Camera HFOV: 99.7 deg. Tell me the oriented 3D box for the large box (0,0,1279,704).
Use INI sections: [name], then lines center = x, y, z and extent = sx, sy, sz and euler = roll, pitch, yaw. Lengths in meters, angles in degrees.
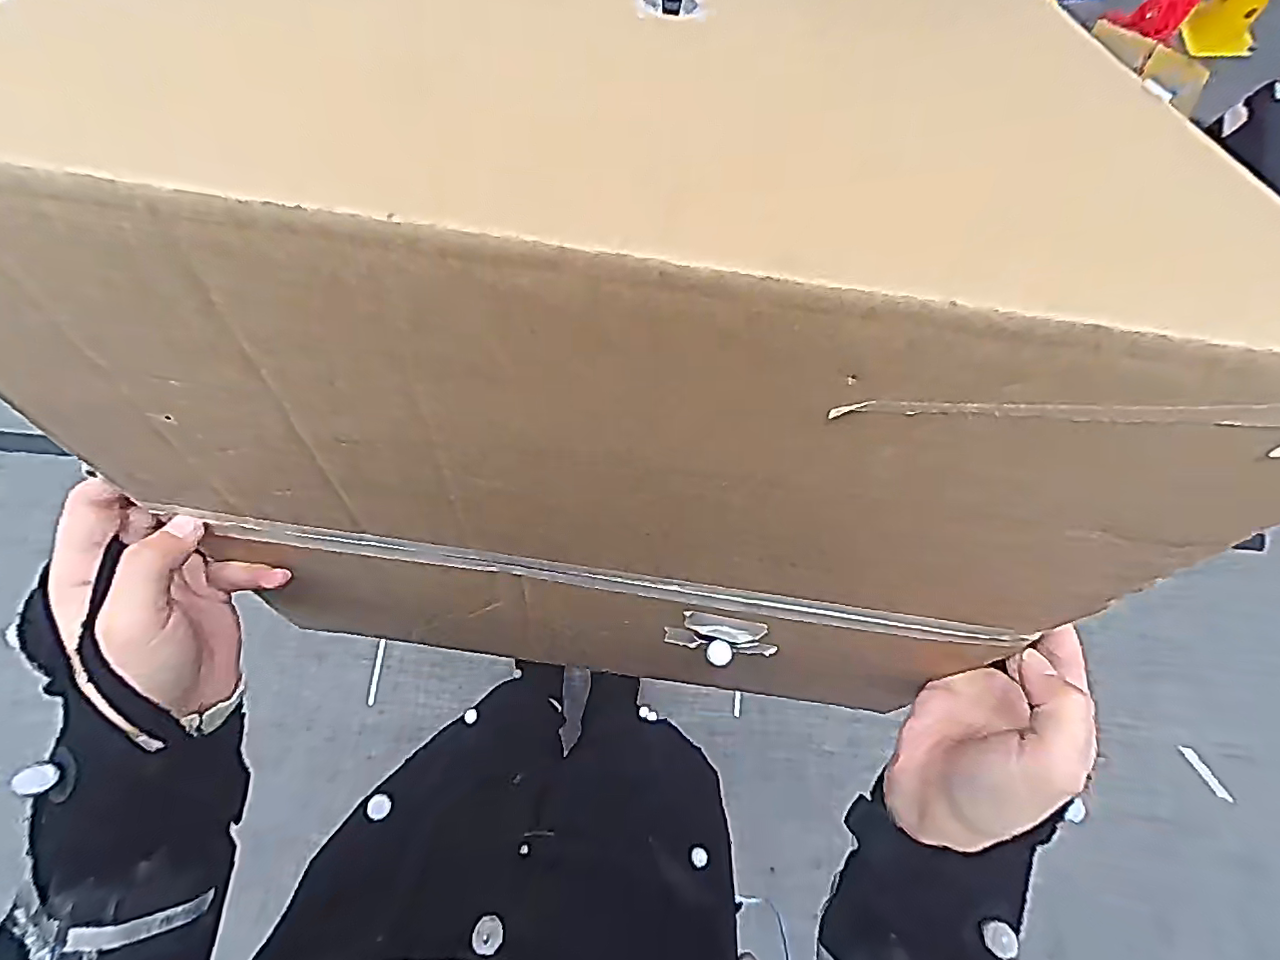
[large box]
center = -0.006, -0.079, 0.339
extent = 0.408, 0.320, 0.320
euler = 8, 55, 0
